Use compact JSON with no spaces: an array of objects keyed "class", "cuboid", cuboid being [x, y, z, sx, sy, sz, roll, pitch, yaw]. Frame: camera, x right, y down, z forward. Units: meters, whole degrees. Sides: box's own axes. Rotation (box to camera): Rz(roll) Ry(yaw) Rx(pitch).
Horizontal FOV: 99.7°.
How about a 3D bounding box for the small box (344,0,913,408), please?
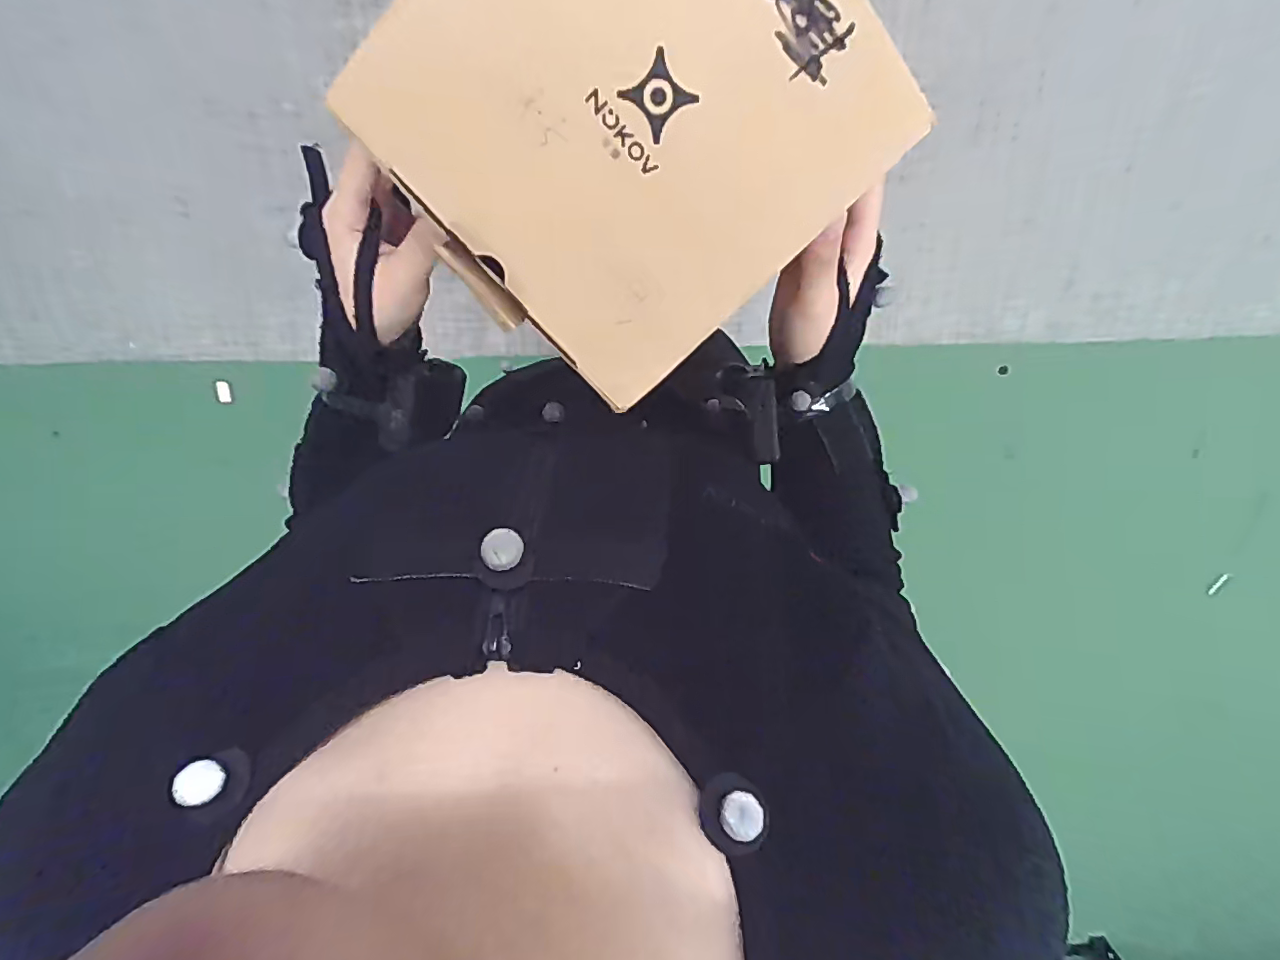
[{"class":"small box","cuboid":[-0.005,-0.170,0.293,0.179,0.176,0.168,-41,108,12]}]
